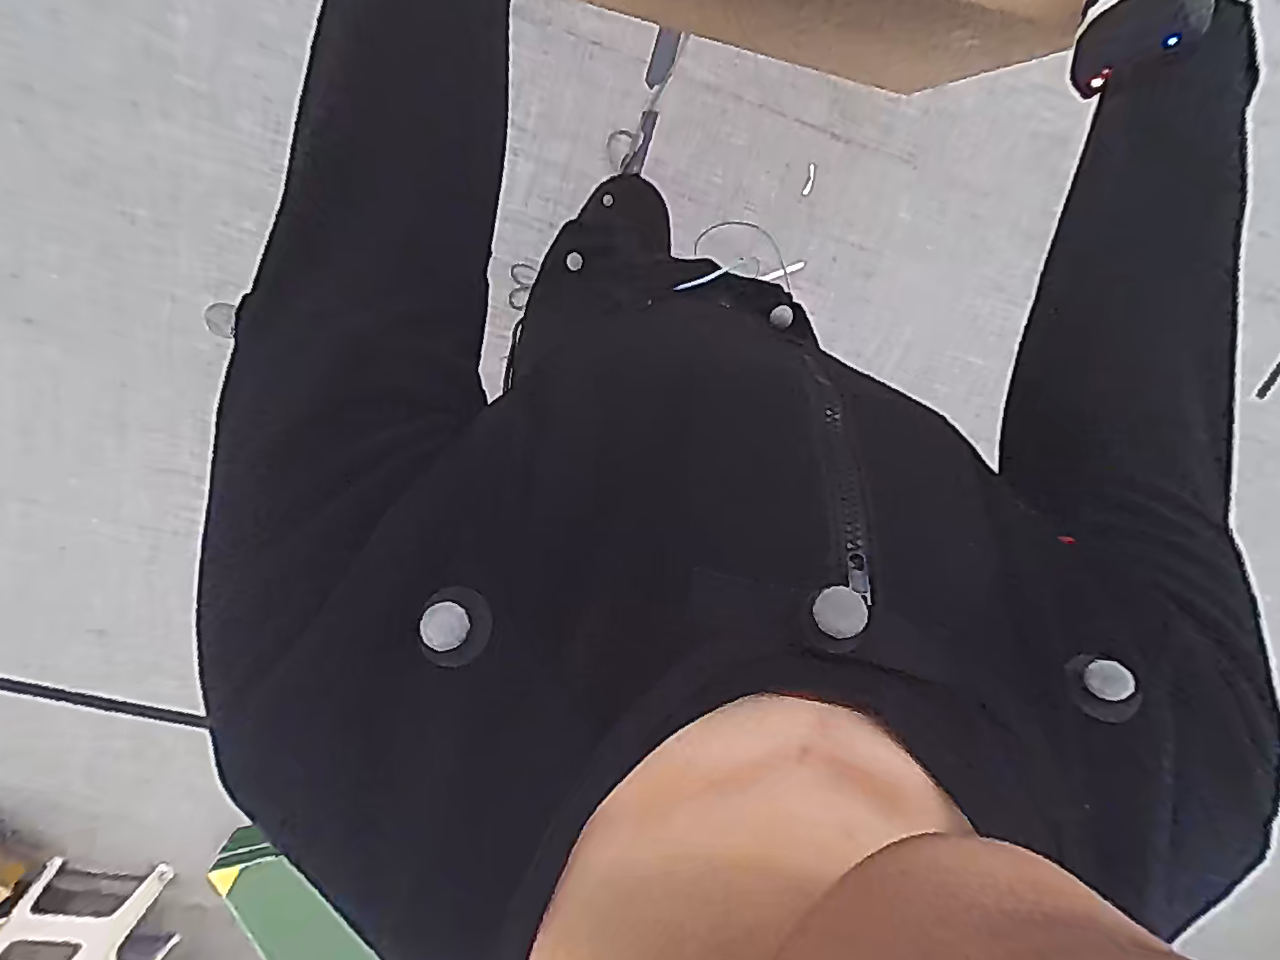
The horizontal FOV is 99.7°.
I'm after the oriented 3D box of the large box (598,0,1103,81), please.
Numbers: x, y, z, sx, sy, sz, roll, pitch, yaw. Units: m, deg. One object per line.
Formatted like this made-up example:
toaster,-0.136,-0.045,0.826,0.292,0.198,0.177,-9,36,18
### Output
large box,0.158,-0.561,0.421,0.408,0.320,0.320,11,120,-6
